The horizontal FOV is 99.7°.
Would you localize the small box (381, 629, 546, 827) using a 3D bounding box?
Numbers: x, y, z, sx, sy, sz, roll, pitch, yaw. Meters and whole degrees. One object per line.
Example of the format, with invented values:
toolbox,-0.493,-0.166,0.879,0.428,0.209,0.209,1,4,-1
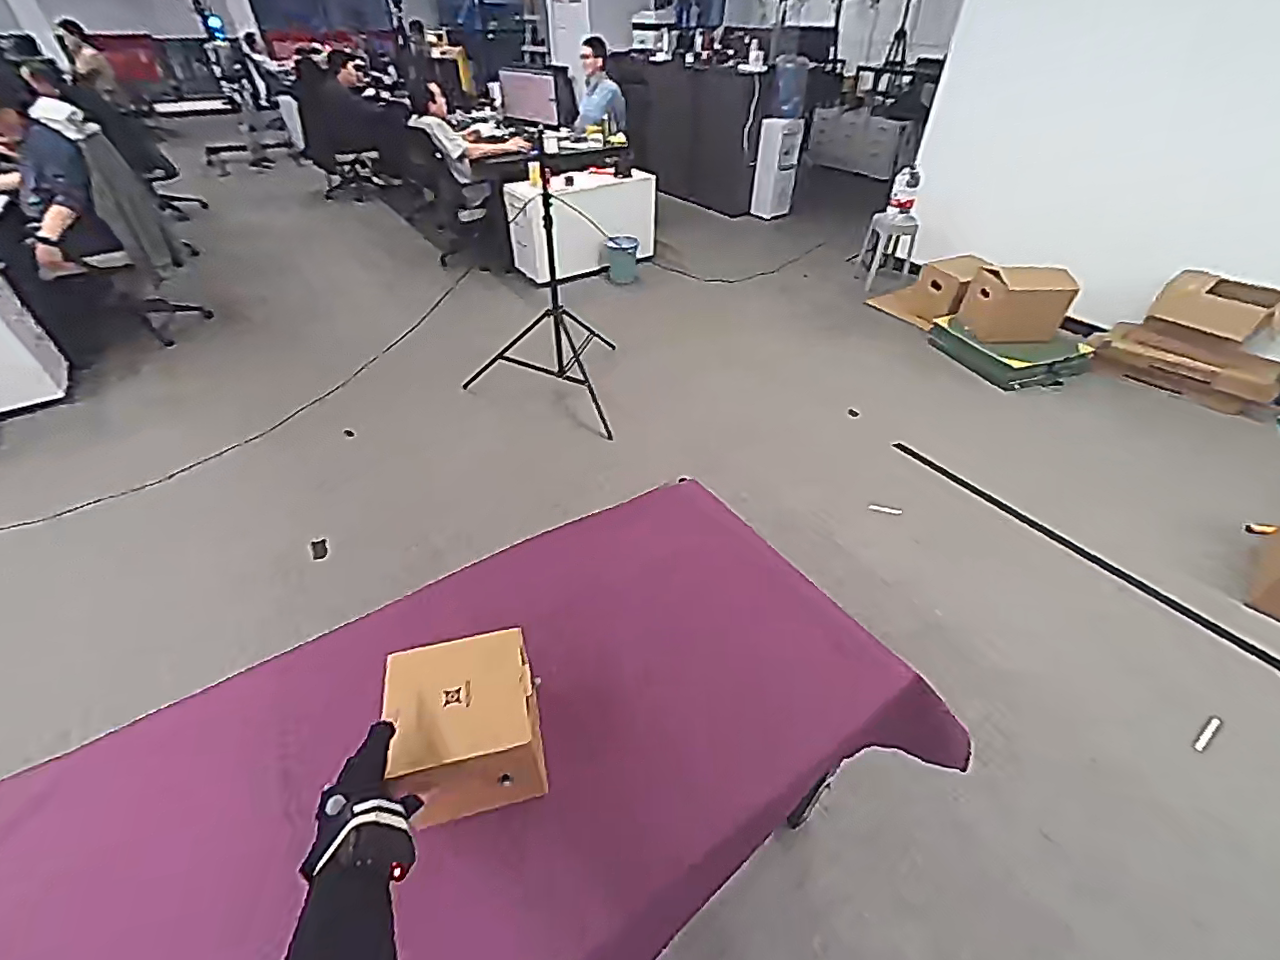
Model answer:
small box,-0.226,0.333,0.731,0.179,0.176,0.168,-11,41,-11
